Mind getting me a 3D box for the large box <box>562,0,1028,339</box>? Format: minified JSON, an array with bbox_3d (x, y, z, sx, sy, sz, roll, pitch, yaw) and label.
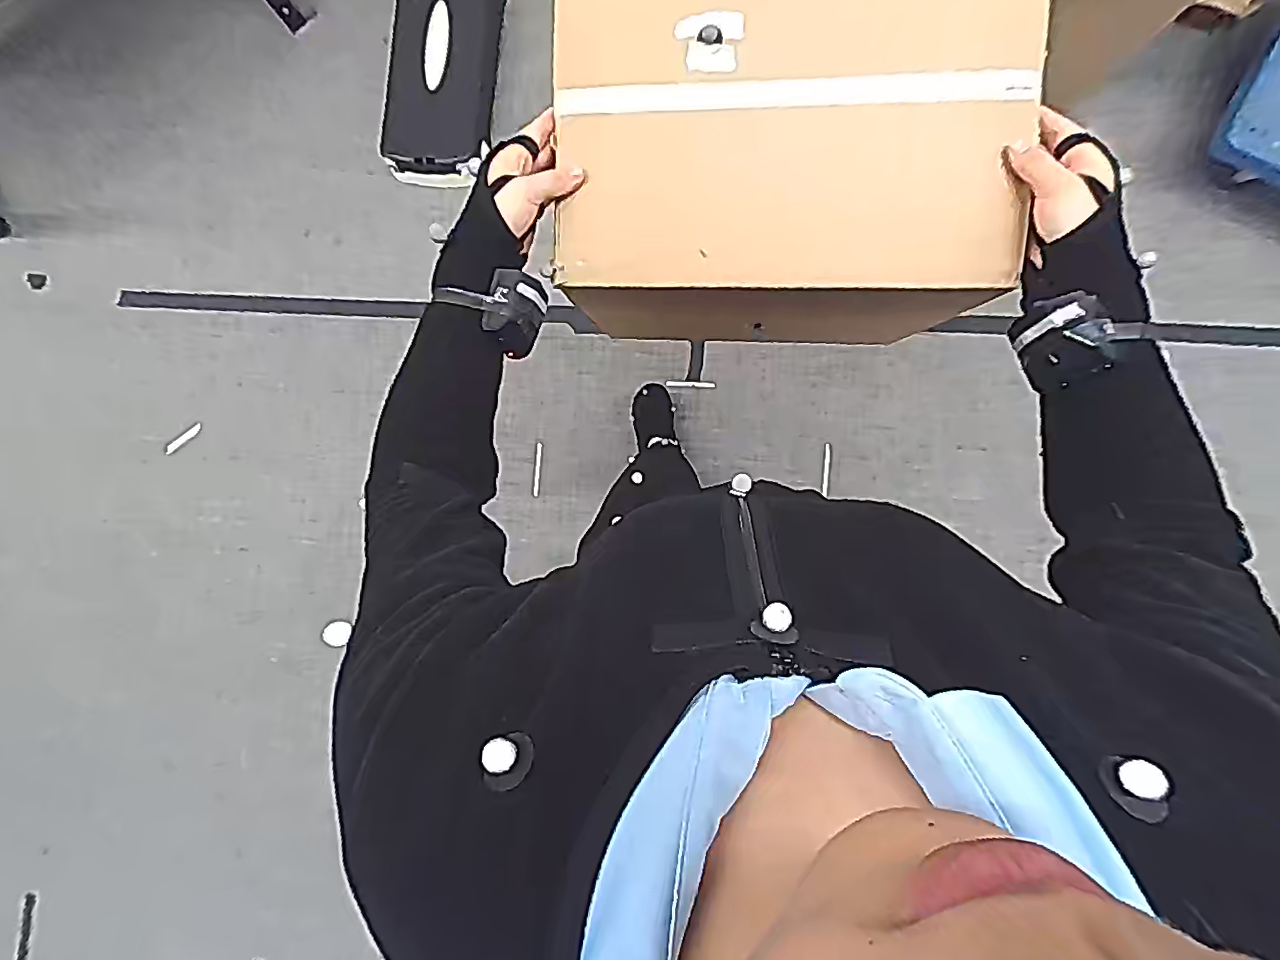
[{"bbox_3d":[0.144,-0.343,0.626,0.408,0.320,0.320,2,94,6],"label":"large box"}]
